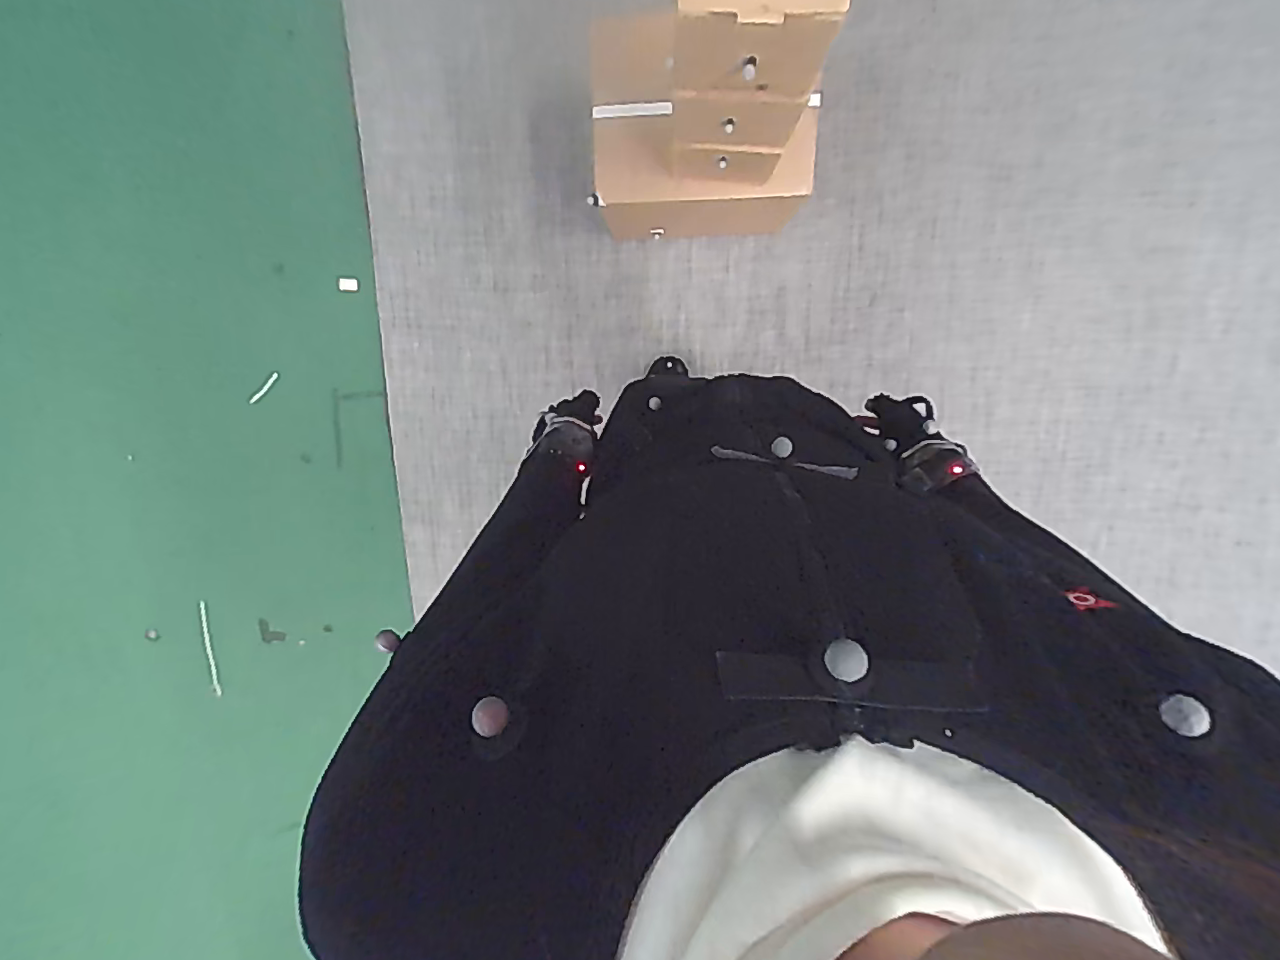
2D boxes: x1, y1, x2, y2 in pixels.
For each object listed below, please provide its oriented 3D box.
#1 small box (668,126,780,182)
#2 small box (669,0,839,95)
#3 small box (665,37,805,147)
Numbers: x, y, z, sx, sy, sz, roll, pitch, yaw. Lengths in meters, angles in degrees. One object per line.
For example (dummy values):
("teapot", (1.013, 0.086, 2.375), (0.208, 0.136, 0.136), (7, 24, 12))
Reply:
("small box", (0.142, -0.613, 0.903), (0.179, 0.176, 0.168), (5, 105, 2))
("small box", (0.124, -0.548, 0.583), (0.168, 0.176, 0.179), (5, 105, 3))
("small box", (0.133, -0.579, 0.744), (0.179, 0.176, 0.168), (6, 105, 5))
